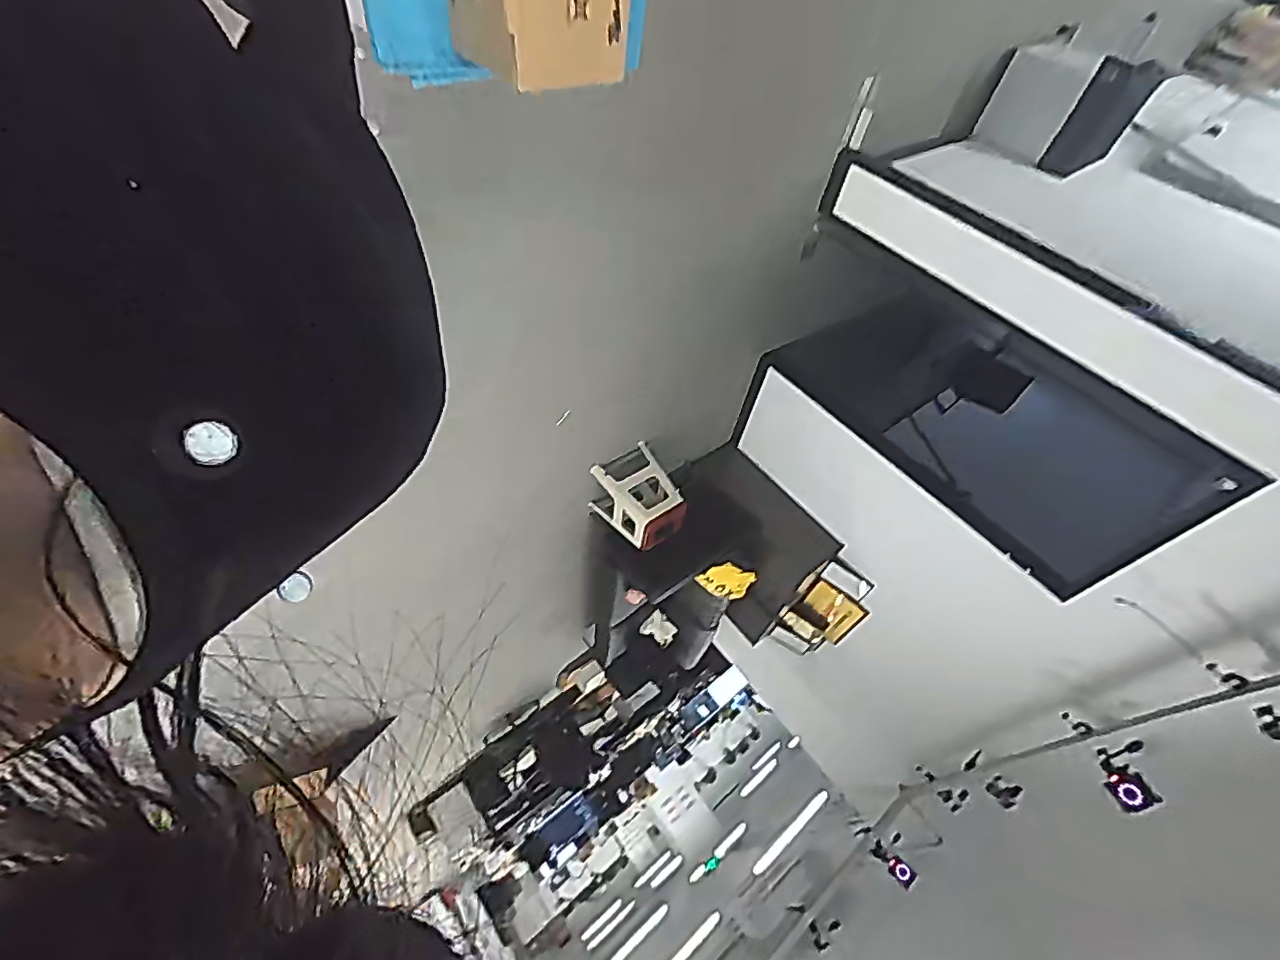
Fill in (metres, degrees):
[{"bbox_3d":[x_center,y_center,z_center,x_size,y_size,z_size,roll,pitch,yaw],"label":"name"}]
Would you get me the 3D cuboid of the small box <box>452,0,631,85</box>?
[{"bbox_3d":[-0.129,-0.628,0.687,0.179,0.176,0.168,-28,152,-29],"label":"small box"}]
